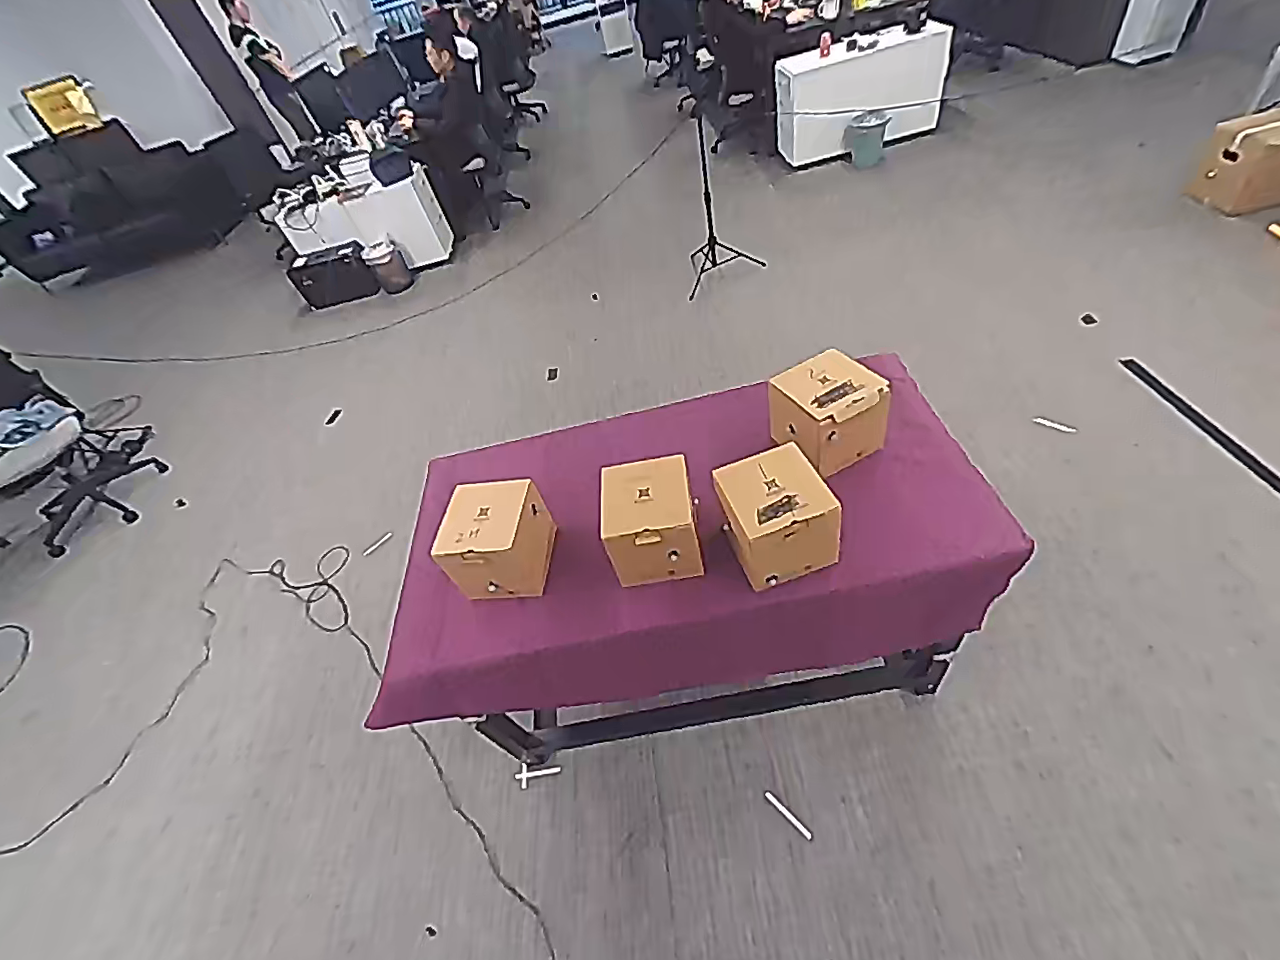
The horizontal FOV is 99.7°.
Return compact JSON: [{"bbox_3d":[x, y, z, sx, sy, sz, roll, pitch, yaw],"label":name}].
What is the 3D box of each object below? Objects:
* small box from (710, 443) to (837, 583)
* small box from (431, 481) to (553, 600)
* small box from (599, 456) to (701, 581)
[{"bbox_3d":[0.245,0.068,0.996,0.168,0.176,0.179,-20,45,-2],"label":"small box"},{"bbox_3d":[-0.289,0.125,1.100,0.168,0.176,0.179,-5,48,12],"label":"small box"},{"bbox_3d":[0.022,0.083,1.051,0.168,0.176,0.179,-10,47,7],"label":"small box"}]
